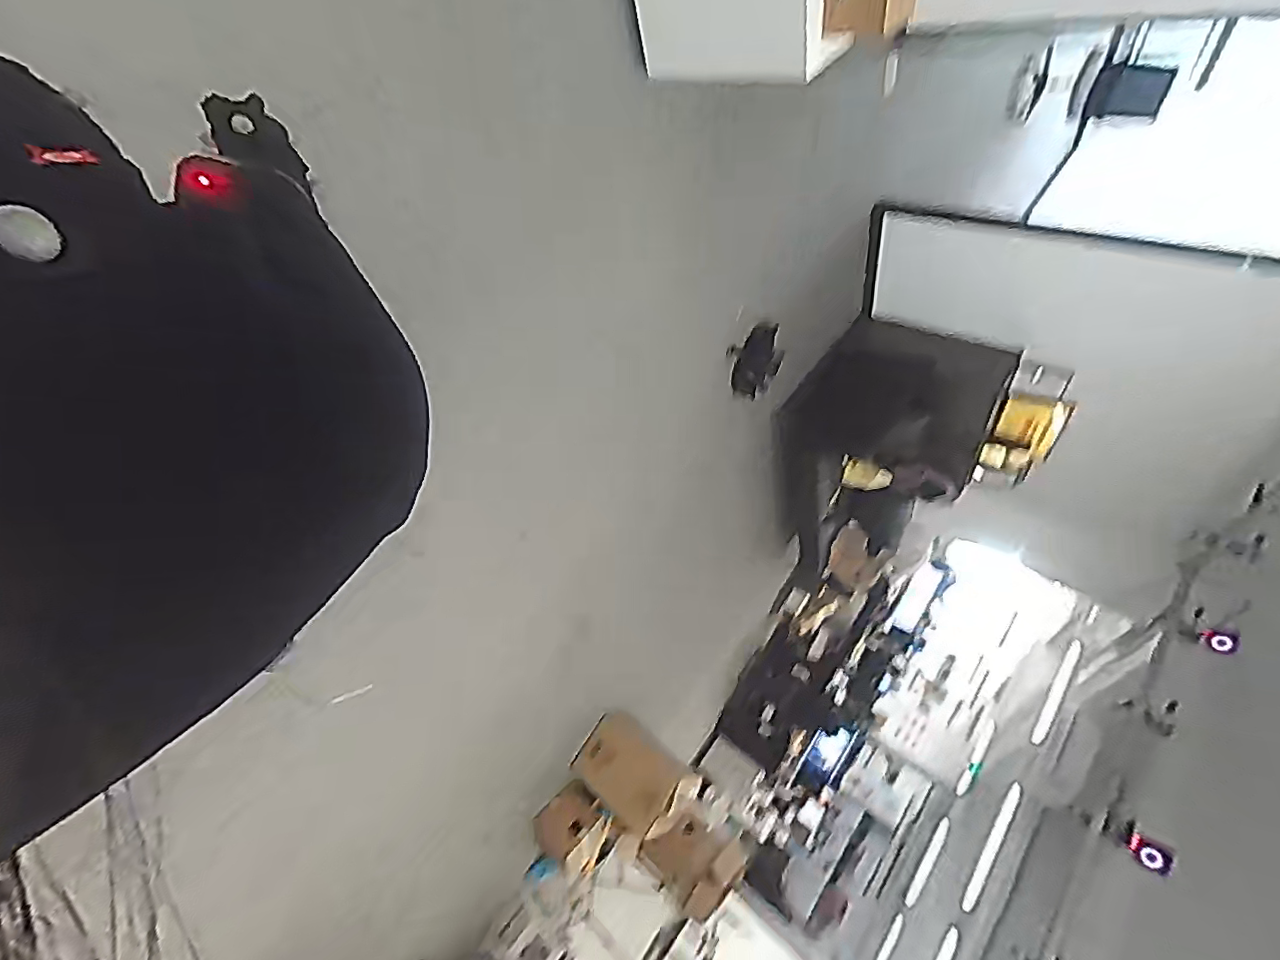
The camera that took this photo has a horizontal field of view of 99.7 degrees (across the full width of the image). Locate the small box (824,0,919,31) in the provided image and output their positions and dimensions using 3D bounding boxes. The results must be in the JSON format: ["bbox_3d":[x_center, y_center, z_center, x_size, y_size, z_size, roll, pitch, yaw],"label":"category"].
[{"bbox_3d":[0.573,-1.226,1.318,0.179,0.176,0.168,-44,142,-24],"label":"small box"}]
